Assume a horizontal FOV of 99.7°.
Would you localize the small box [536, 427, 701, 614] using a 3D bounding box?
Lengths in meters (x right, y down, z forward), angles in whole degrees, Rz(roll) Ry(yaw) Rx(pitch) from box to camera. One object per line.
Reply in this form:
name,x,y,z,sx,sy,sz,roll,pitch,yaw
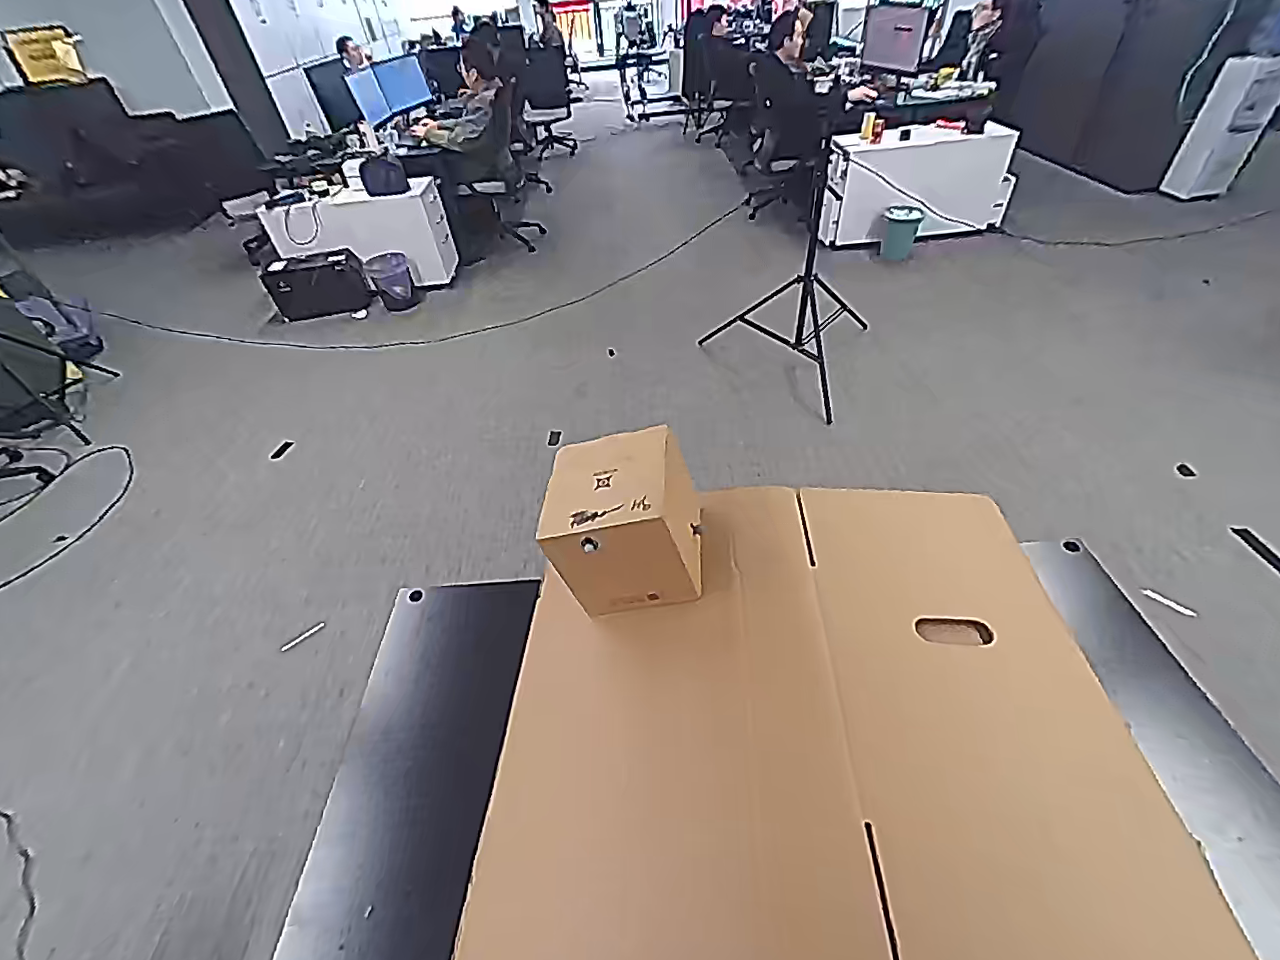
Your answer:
small box,-0.017,0.057,0.741,0.168,0.176,0.179,-12,40,16
